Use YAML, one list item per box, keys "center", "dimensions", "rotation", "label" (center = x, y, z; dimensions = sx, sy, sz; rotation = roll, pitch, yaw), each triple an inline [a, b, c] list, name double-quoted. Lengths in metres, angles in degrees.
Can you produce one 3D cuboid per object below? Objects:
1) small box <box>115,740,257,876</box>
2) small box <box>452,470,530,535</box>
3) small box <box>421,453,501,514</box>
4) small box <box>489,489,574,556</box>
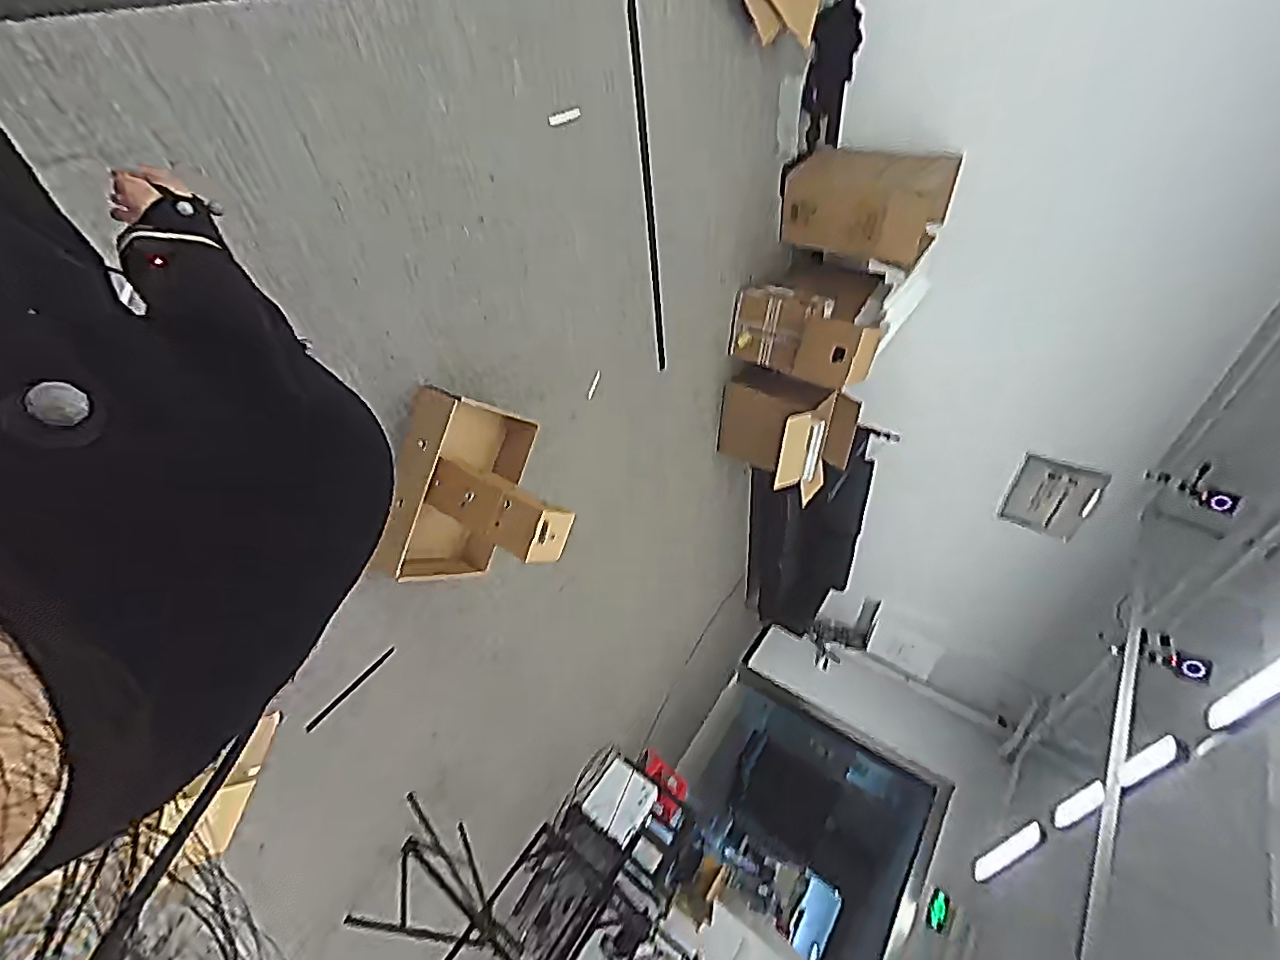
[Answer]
- center: [-0.991, 0.696, 1.178]
  dimensions: [0.168, 0.176, 0.179]
  rotation: [23, 91, -61]
  label: "small box"
- center: [-0.482, 0.077, 1.786]
  dimensions: [0.179, 0.176, 0.168]
  rotation: [15, 96, -61]
  label: "small box"
- center: [-0.613, 0.019, 1.862]
  dimensions: [0.179, 0.176, 0.168]
  rotation: [18, 94, -61]
  label: "small box"
- center: [-0.346, 0.134, 1.712]
  dimensions: [0.179, 0.176, 0.168]
  rotation: [13, 99, -63]
  label: "small box"
